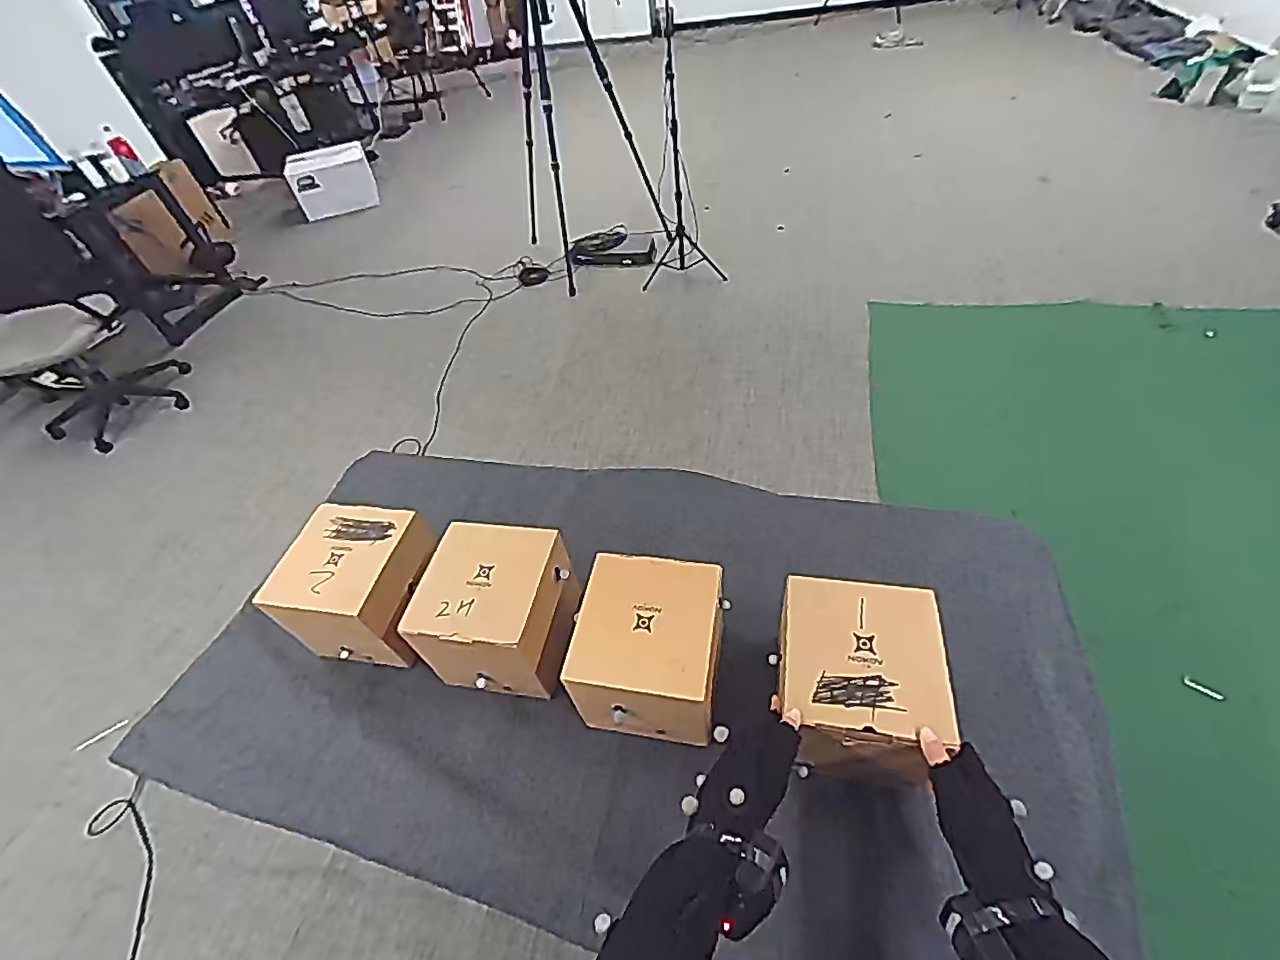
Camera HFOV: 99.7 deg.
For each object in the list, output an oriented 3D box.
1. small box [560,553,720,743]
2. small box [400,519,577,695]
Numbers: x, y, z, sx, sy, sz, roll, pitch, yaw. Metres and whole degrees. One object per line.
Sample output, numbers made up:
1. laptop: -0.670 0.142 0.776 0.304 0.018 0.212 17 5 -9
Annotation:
1. small box: 0.014 0.219 0.704 0.168 0.176 0.179 4 48 13
2. small box: -0.197 0.180 0.769 0.168 0.176 0.179 4 49 12
